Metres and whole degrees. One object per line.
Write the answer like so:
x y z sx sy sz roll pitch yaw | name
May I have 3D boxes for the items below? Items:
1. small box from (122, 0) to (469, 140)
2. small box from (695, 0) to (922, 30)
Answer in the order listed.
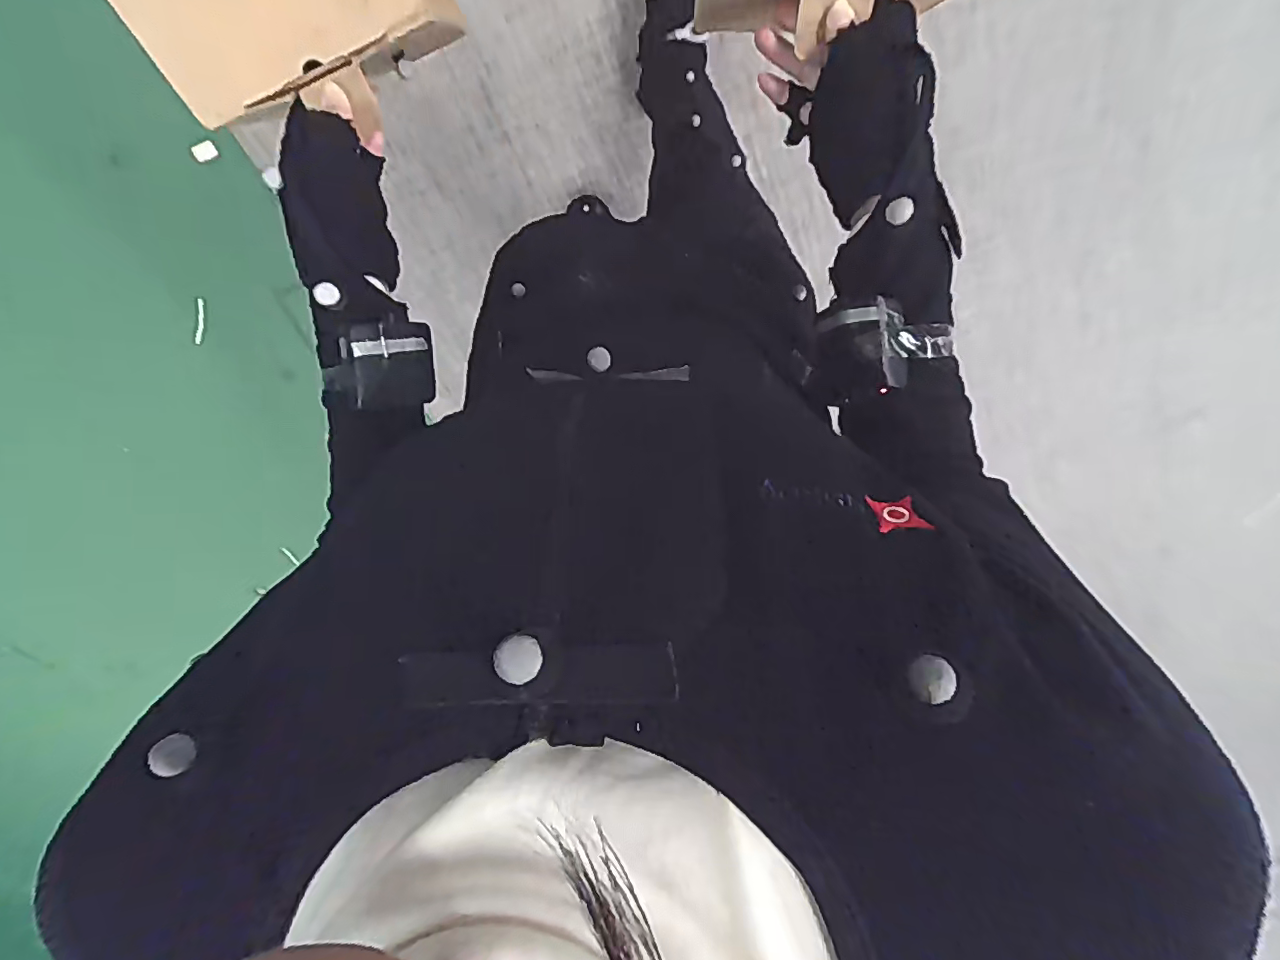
-0.238 -0.363 0.362 0.168 0.176 0.179 -21 125 9 | small box
0.121 -0.407 0.342 0.168 0.176 0.179 2 122 3 | small box
